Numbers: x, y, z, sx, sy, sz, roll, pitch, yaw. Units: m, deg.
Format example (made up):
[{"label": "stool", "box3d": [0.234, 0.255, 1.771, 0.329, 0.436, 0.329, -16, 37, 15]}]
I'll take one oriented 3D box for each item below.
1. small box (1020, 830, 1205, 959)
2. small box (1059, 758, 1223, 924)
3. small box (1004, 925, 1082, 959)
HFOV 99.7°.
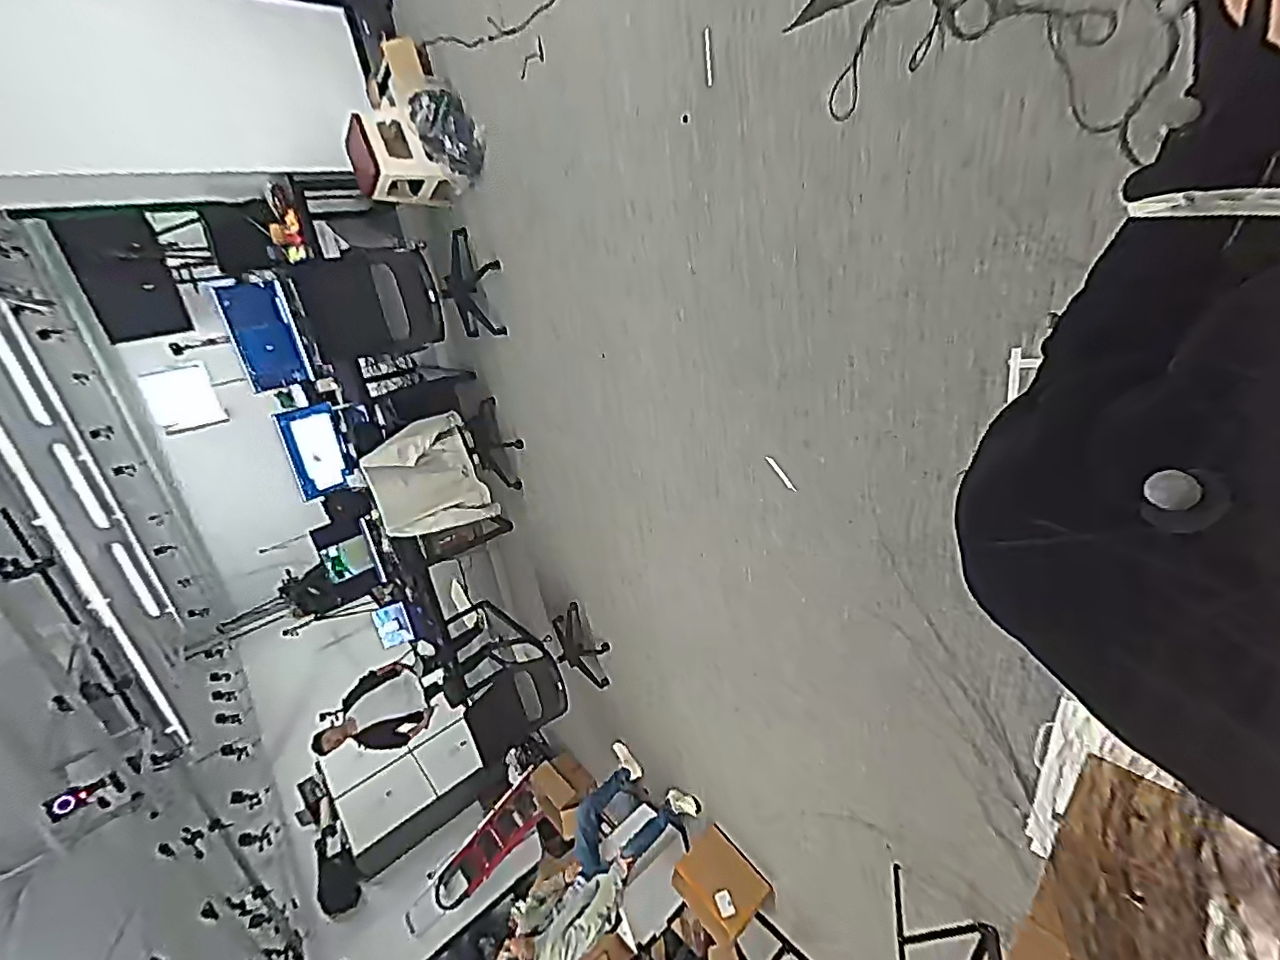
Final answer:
[{"label": "small box", "box3d": [0.635, 0.644, 0.744, 0.168, 0.176, 0.179, 19, 125, 44]}, {"label": "small box", "box3d": [0.754, 0.577, 0.832, 0.168, 0.176, 0.179, 20, 125, 46]}, {"label": "small box", "box3d": [0.513, 0.700, 0.649, 0.168, 0.176, 0.179, 21, 128, 43]}]
